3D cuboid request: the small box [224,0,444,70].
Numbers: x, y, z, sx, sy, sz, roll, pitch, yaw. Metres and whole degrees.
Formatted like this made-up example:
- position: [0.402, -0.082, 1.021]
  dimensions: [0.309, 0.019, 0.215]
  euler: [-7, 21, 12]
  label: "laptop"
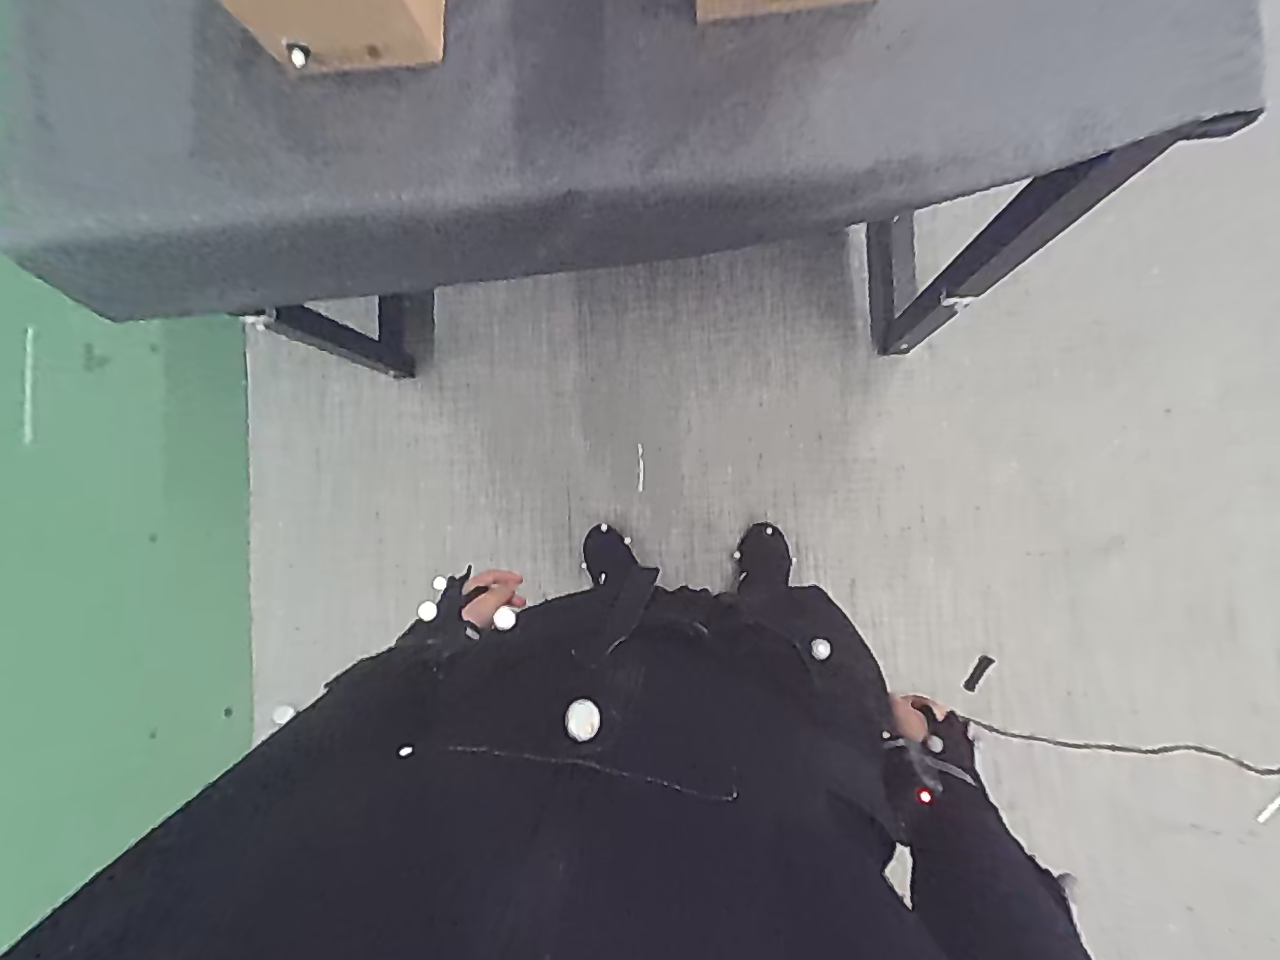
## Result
- position: [-0.285, -0.501, 0.475]
  dimensions: [0.168, 0.176, 0.179]
  euler: [1, 86, 7]
  label: "small box"
